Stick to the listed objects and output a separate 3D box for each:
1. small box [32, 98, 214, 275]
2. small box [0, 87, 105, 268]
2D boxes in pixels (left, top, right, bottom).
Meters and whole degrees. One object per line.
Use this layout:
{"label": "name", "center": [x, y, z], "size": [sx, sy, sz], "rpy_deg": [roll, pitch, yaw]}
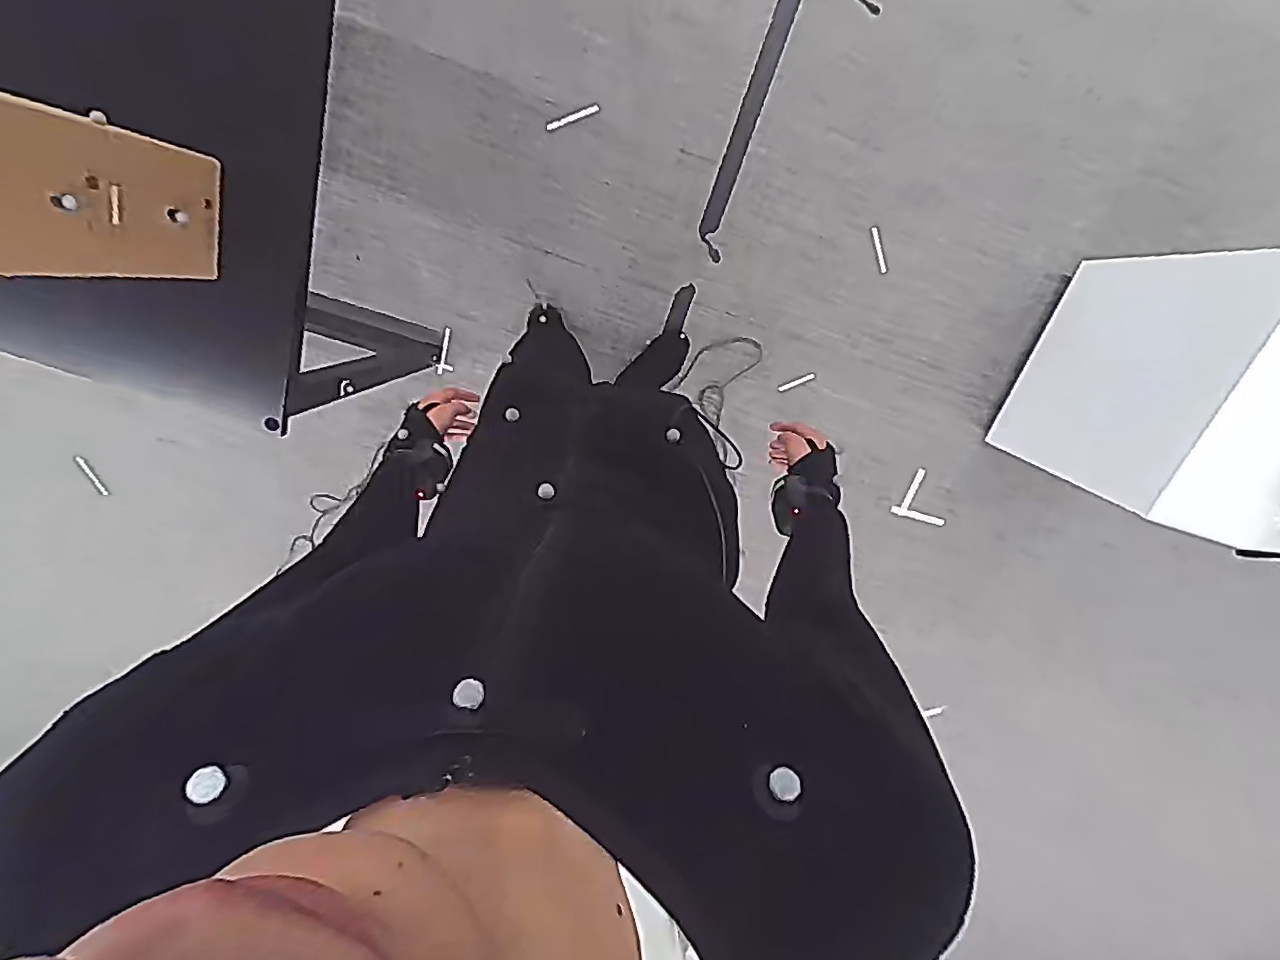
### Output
{"label": "small box", "center": [-0.693, -0.373, 0.695], "size": [0.179, 0.176, 0.168], "rpy_deg": [16, 109, -4]}
{"label": "small box", "center": [-0.701, -0.318, 0.539], "size": [0.179, 0.176, 0.168], "rpy_deg": [17, 110, -4]}
